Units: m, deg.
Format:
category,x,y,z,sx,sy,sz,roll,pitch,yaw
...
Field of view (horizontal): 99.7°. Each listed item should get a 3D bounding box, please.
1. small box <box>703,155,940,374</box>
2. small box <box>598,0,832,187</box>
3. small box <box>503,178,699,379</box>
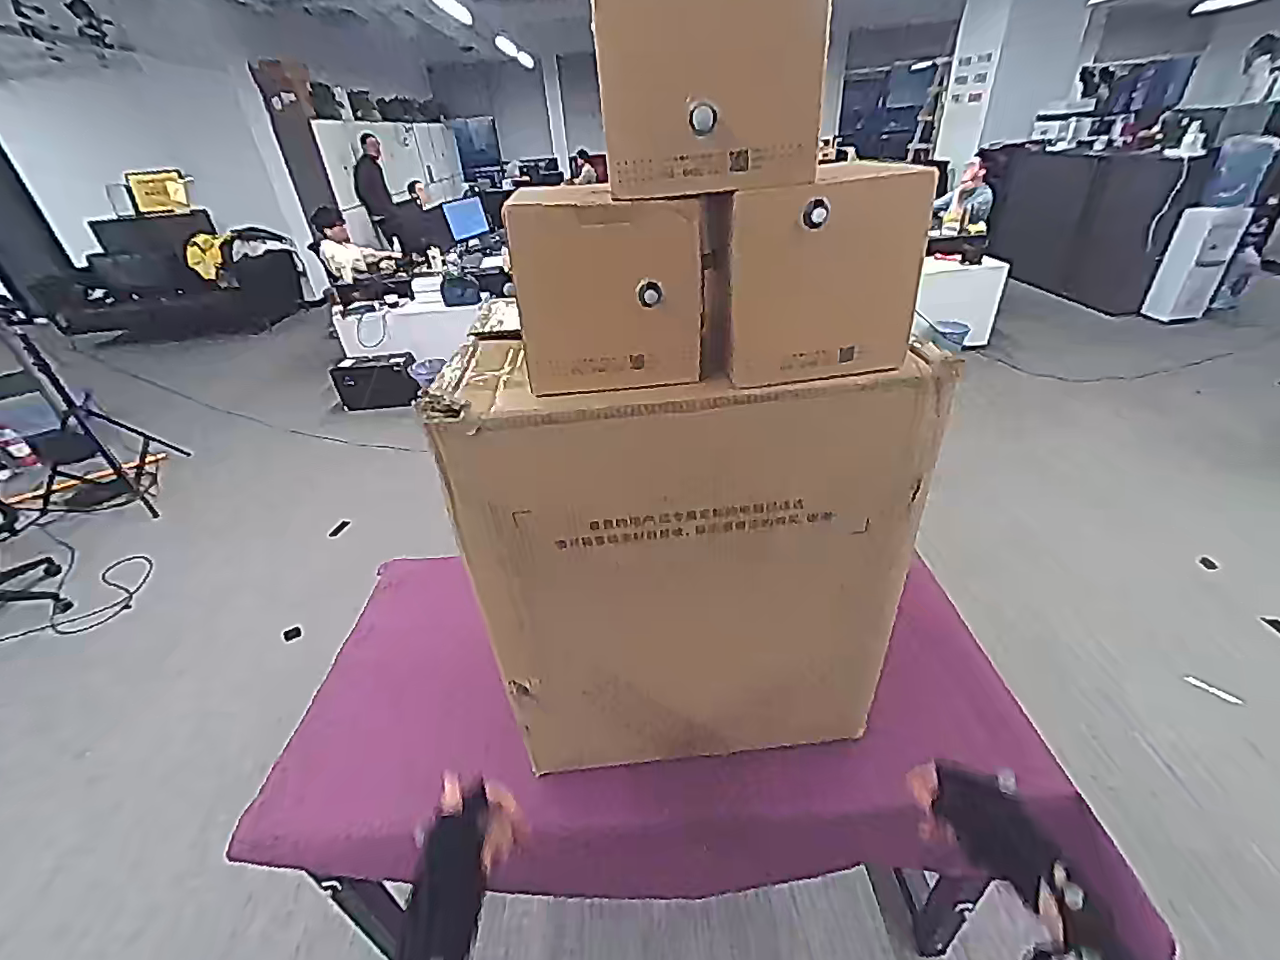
category,x,y,z,sx,sy,sz,roll,pitch,yaw
small box,0.157,-0.216,0.537,0.168,0.176,0.179,-8,32,-2
small box,0.058,-0.350,0.457,0.168,0.176,0.179,-2,33,6
small box,-0.035,-0.207,0.551,0.168,0.176,0.179,-4,31,-4
